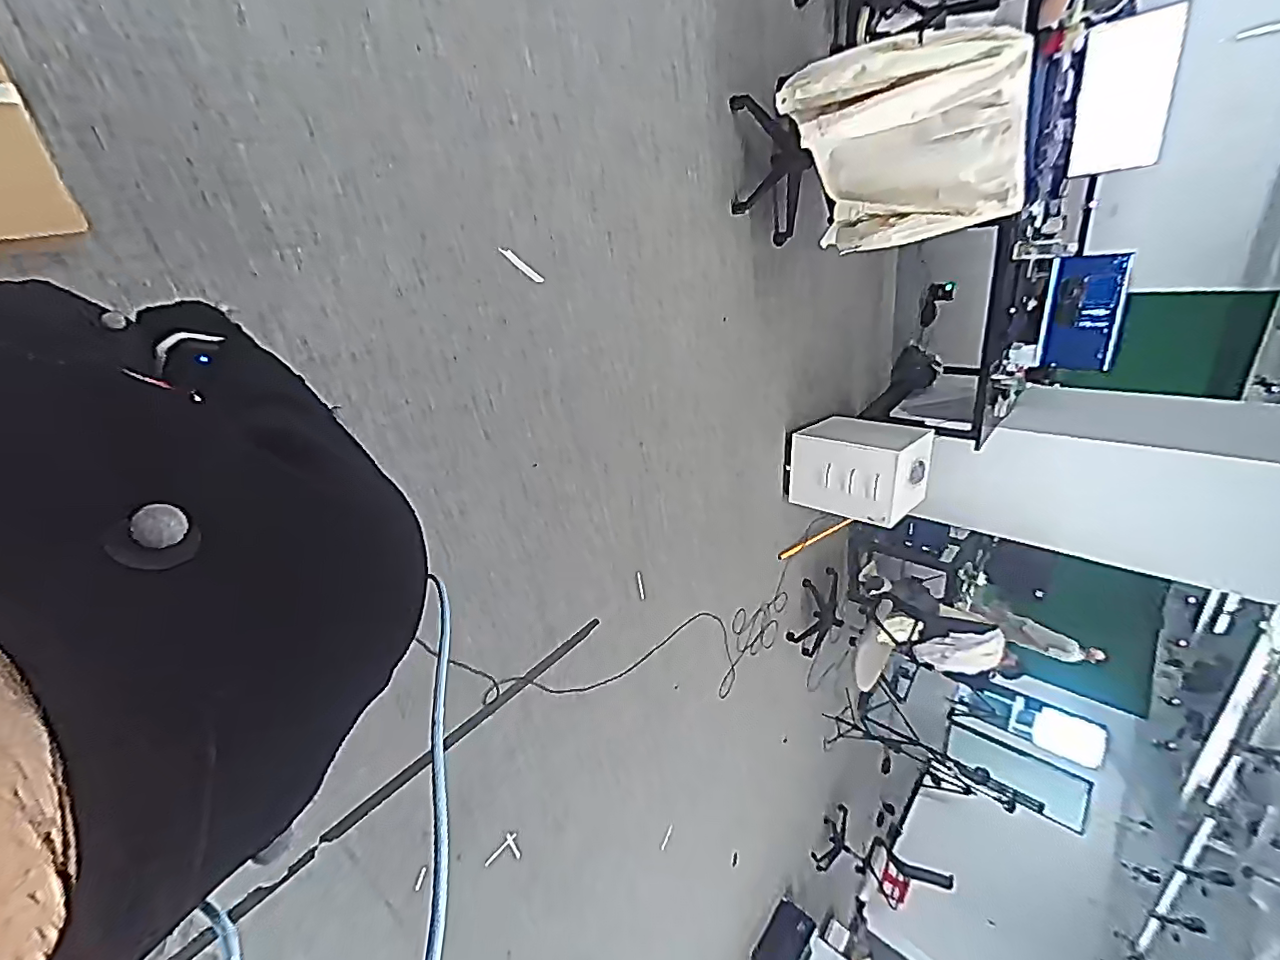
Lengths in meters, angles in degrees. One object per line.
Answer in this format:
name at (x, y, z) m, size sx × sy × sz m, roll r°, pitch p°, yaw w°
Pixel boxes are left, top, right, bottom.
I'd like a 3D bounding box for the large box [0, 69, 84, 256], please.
large box at (-1.021, -0.424, 0.648) m, size 0.408 × 0.320 × 0.320 m, roll -32°, pitch 125°, yaw -38°
